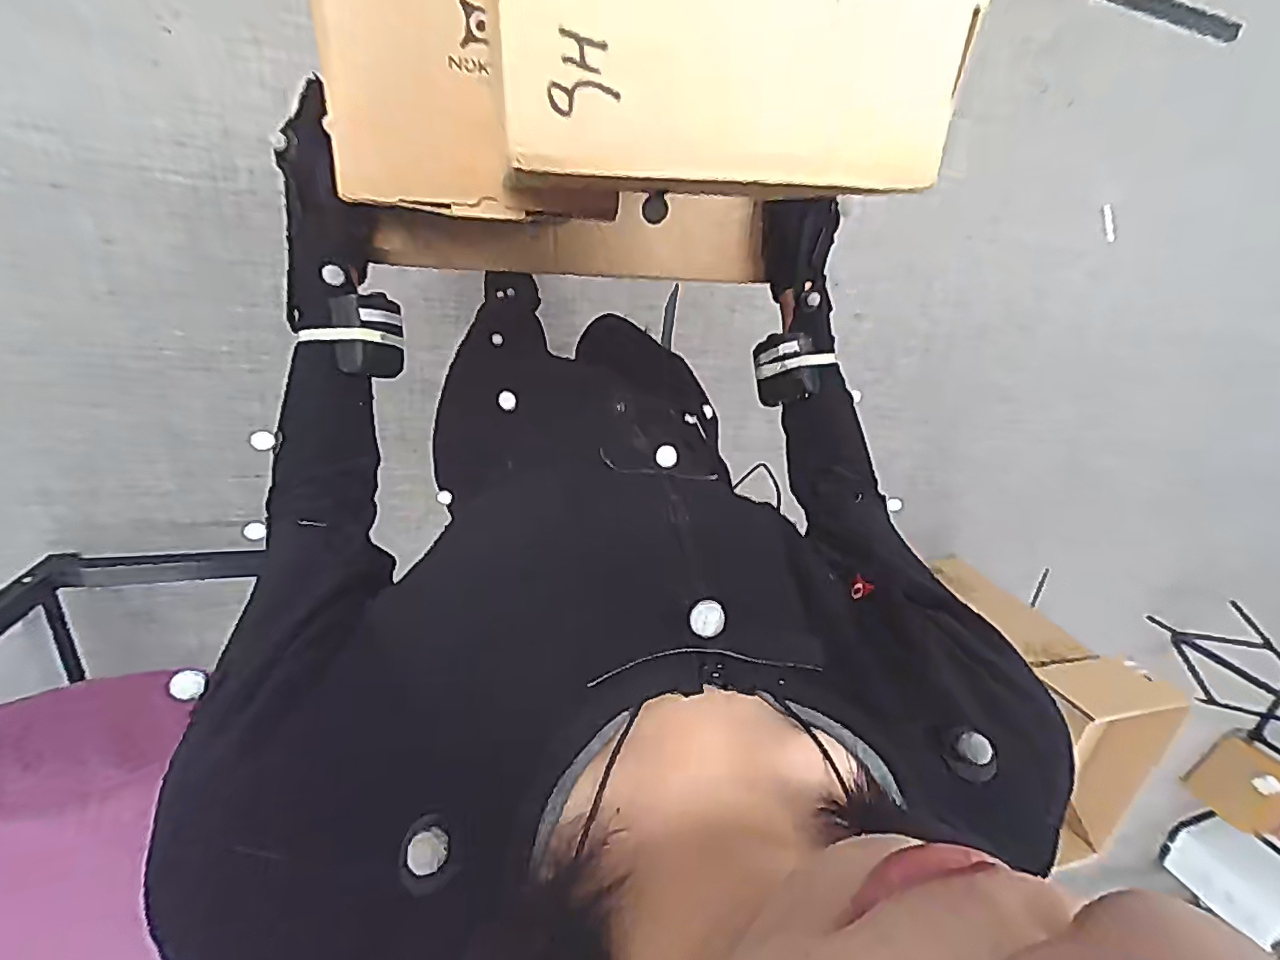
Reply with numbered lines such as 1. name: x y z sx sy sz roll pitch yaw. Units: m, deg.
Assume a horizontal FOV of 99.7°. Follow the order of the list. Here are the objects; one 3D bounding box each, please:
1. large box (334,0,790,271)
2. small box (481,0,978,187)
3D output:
1. large box: -0.078 -0.408 0.587 0.408 0.320 0.320 -4 117 -16
2. small box: 0.022 -0.227 0.235 0.179 0.176 0.168 -4 117 -14
